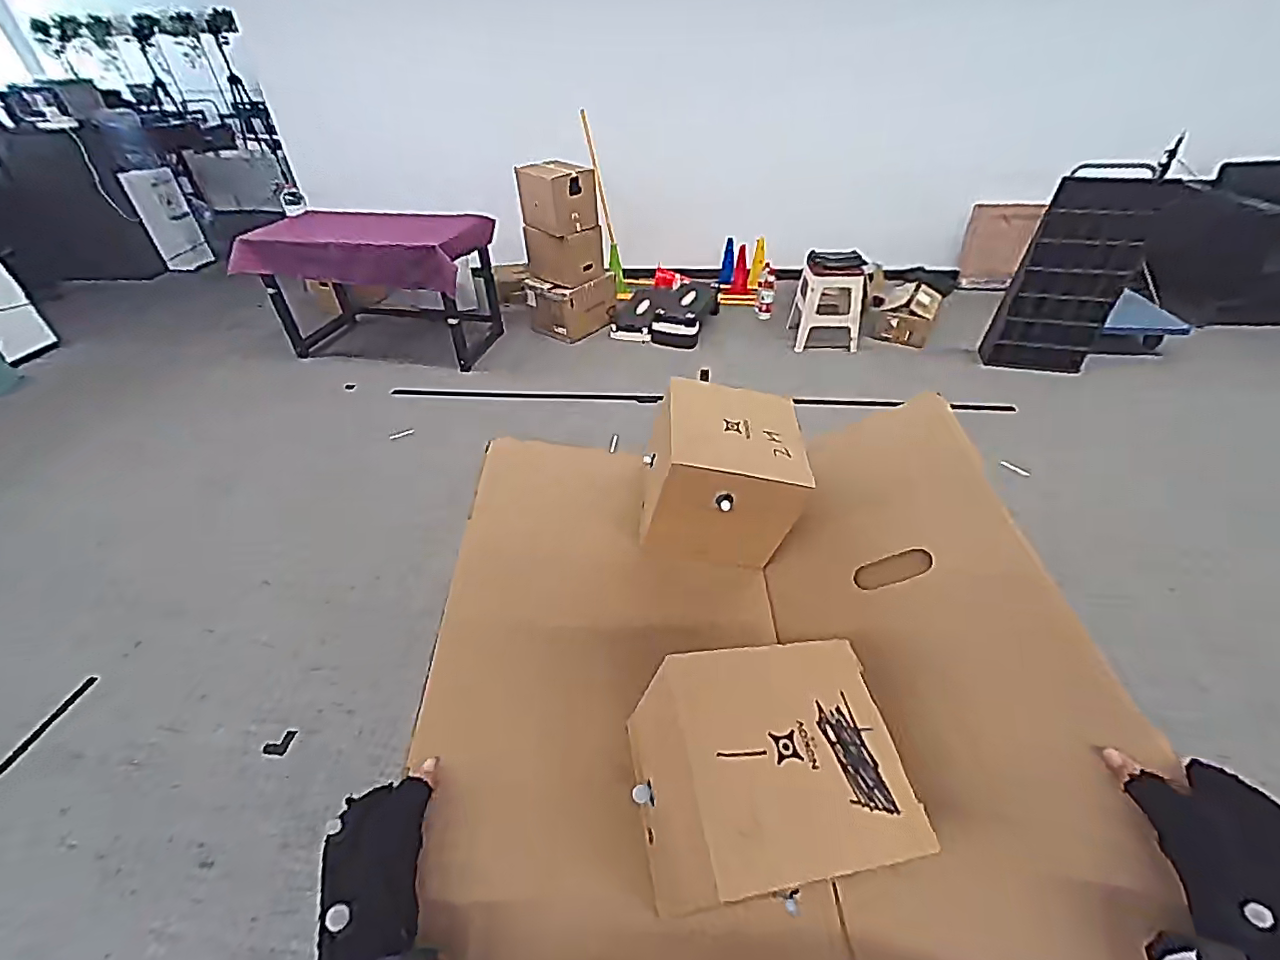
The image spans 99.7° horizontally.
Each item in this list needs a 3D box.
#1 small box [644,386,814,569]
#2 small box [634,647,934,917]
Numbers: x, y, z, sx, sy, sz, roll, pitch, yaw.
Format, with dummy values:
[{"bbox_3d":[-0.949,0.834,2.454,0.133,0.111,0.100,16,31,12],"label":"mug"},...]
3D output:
[{"bbox_3d":[0.106,0.002,0.730,0.179,0.176,0.168,11,46,-7],"label":"small box"},{"bbox_3d":[0.105,0.266,0.481,0.179,0.176,0.168,0,48,-15],"label":"small box"}]
